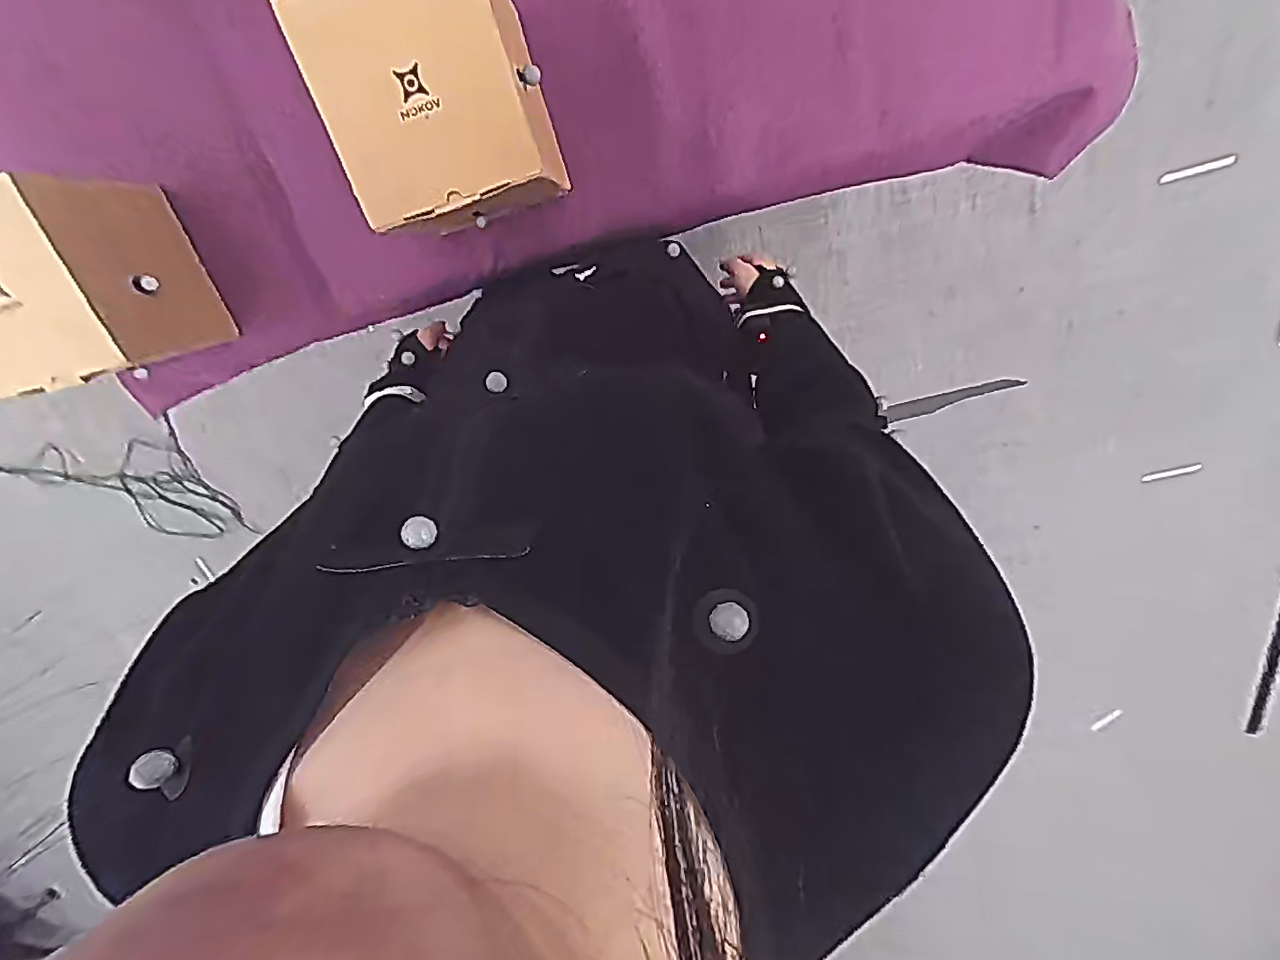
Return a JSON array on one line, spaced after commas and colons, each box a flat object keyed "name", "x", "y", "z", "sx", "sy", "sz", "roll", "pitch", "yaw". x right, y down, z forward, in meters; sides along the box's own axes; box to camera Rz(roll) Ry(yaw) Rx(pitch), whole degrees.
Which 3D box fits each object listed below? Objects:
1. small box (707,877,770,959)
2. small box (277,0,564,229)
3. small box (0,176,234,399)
[{"name": "small box", "x": 0.339, "y": 1.517, "z": 1.879, "sx": 0.179, "sy": 0.176, "sz": 0.168, "roll": -14, "pitch": 113, "yaw": 8}, {"name": "small box", "x": -0.184, "y": -0.355, "z": 0.518, "sx": 0.168, "sy": 0.176, "sz": 0.179, "roll": -15, "pitch": 114, "yaw": 7}, {"name": "small box", "x": -0.603, "y": -0.210, "z": 0.587, "sx": 0.168, "sy": 0.176, "sz": 0.179, "roll": -13, "pitch": 115, "yaw": 6}]
